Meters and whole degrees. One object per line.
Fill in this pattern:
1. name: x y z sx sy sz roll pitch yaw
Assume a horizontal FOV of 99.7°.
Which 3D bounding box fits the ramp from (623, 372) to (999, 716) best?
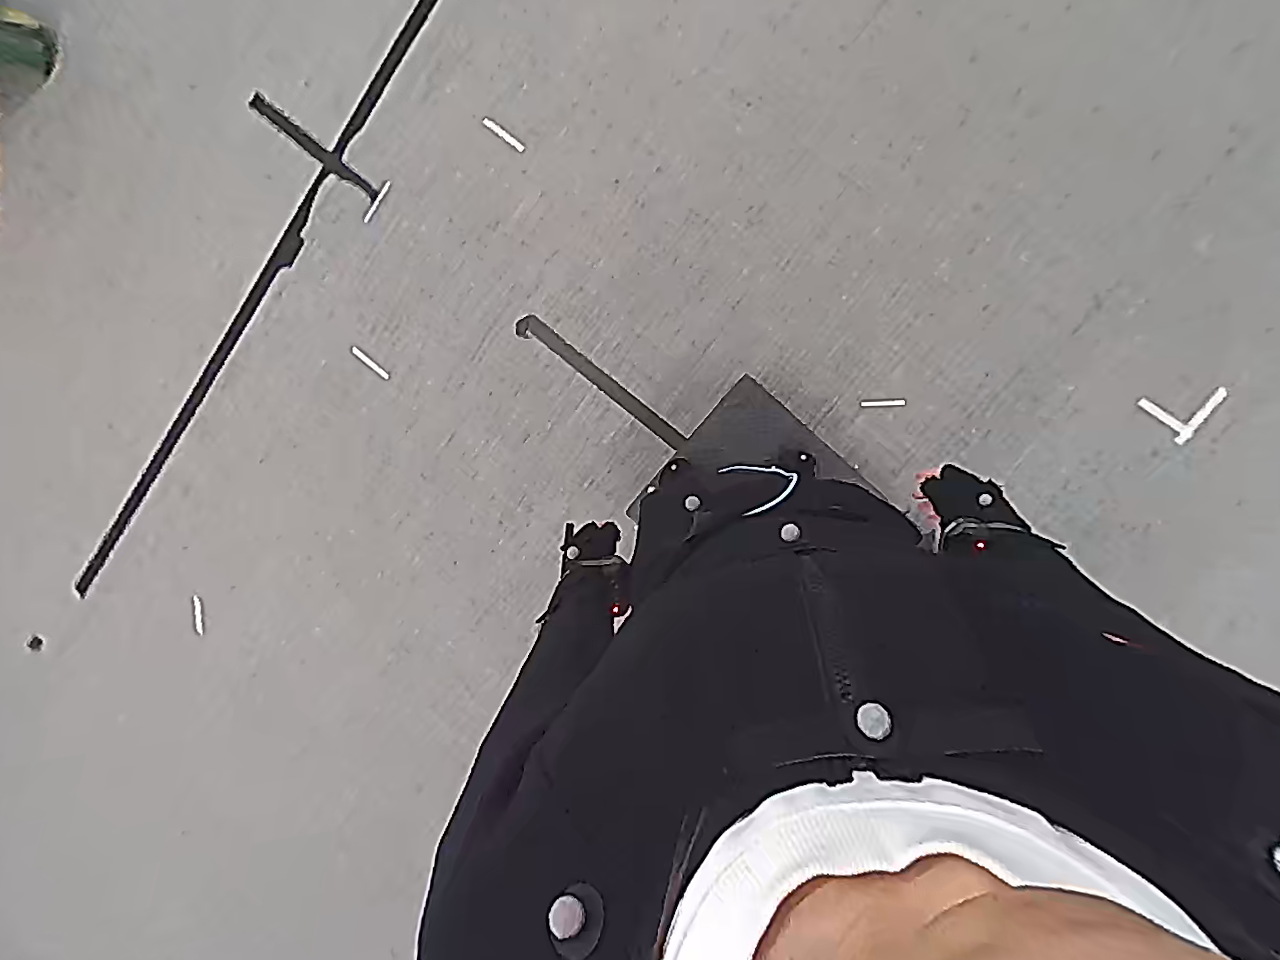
1. ramp: 0.485 0.205 1.490 0.991 0.206 0.509 39 97 2
